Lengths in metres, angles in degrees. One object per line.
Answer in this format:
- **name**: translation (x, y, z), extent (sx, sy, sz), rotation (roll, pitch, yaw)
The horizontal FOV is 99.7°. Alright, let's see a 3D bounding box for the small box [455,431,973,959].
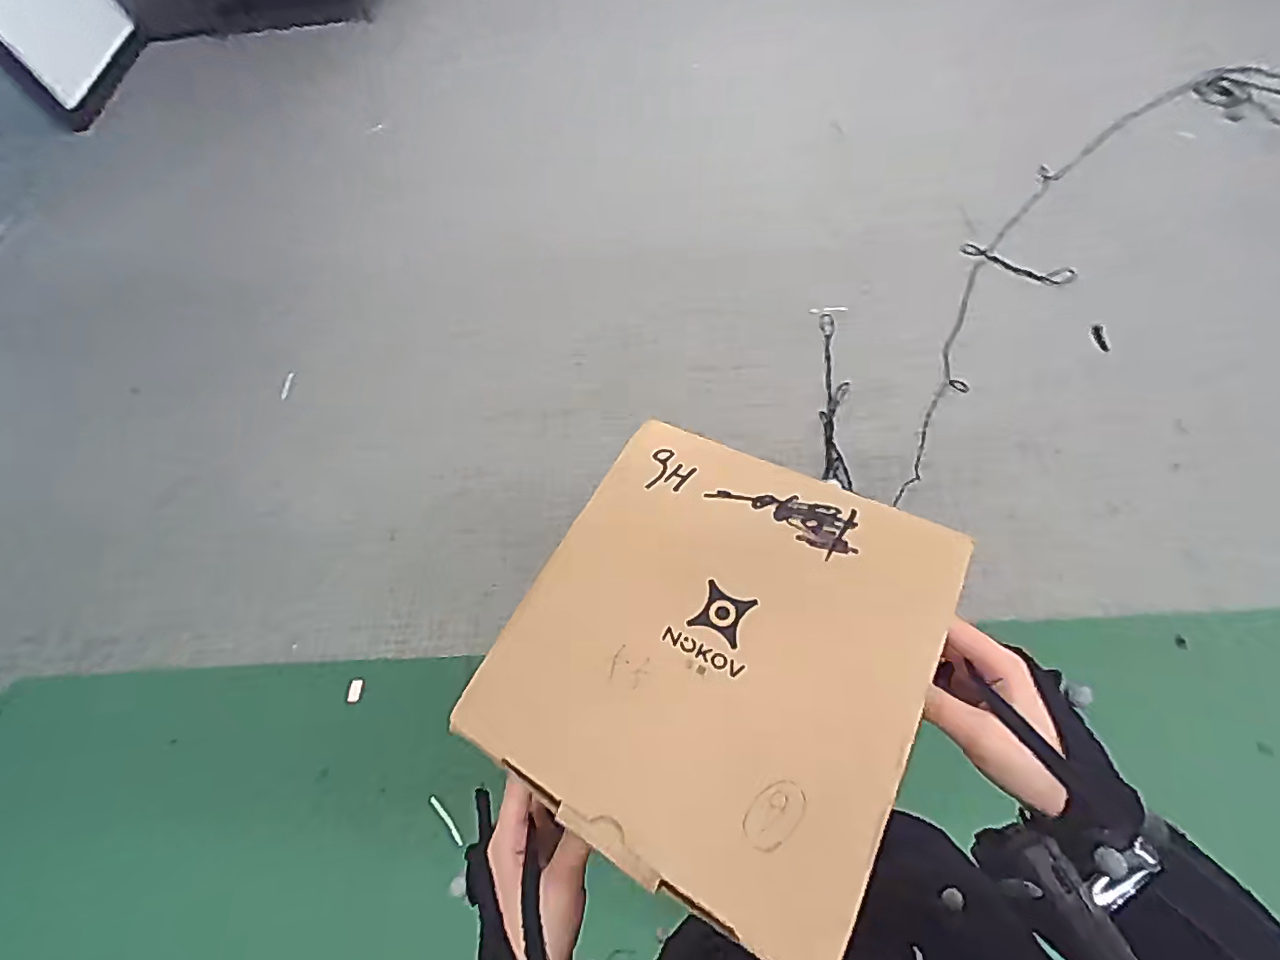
- **small box**: translation (0.045, 0.110, 0.296), extent (0.168, 0.176, 0.179), rotation (23, 67, 24)
